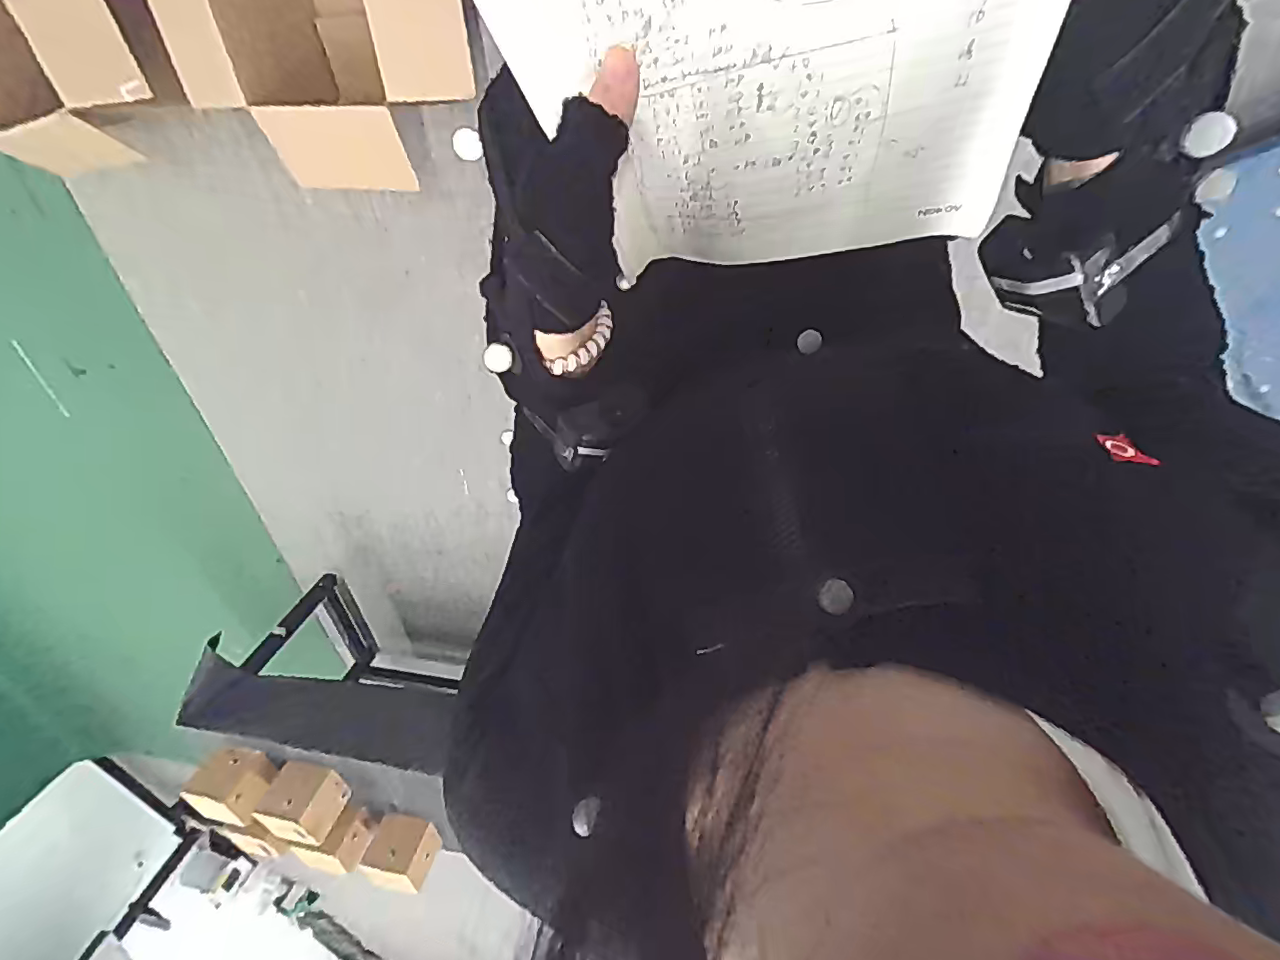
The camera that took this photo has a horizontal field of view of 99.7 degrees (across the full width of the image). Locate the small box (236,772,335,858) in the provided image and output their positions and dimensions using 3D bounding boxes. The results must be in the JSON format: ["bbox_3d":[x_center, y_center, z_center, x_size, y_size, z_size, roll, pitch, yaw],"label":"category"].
[{"bbox_3d":[-1.099,1.050,1.701,0.179,0.176,0.168,2,125,12],"label":"small box"}]

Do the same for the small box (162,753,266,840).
[{"bbox_3d":[-1.356,1.012,1.736,0.168,0.176,0.179,7,126,8],"label":"small box"}]
